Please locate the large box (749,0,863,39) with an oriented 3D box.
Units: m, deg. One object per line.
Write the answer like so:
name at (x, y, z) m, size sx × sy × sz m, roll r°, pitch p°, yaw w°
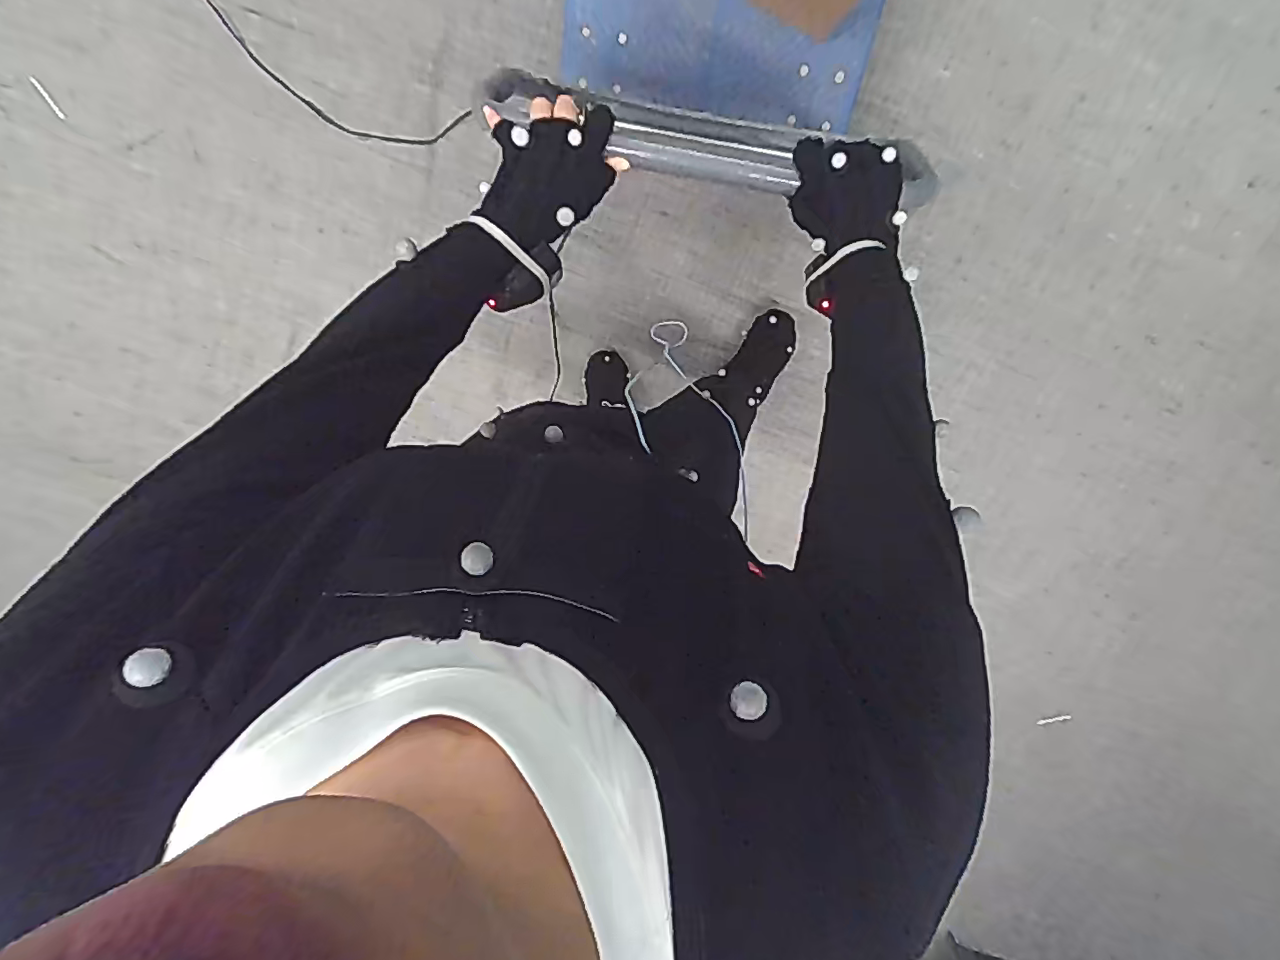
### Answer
large box at (0.207, -0.938, 0.786) m, size 0.408 × 0.320 × 0.320 m, roll 23°, pitch 118°, yaw -7°
